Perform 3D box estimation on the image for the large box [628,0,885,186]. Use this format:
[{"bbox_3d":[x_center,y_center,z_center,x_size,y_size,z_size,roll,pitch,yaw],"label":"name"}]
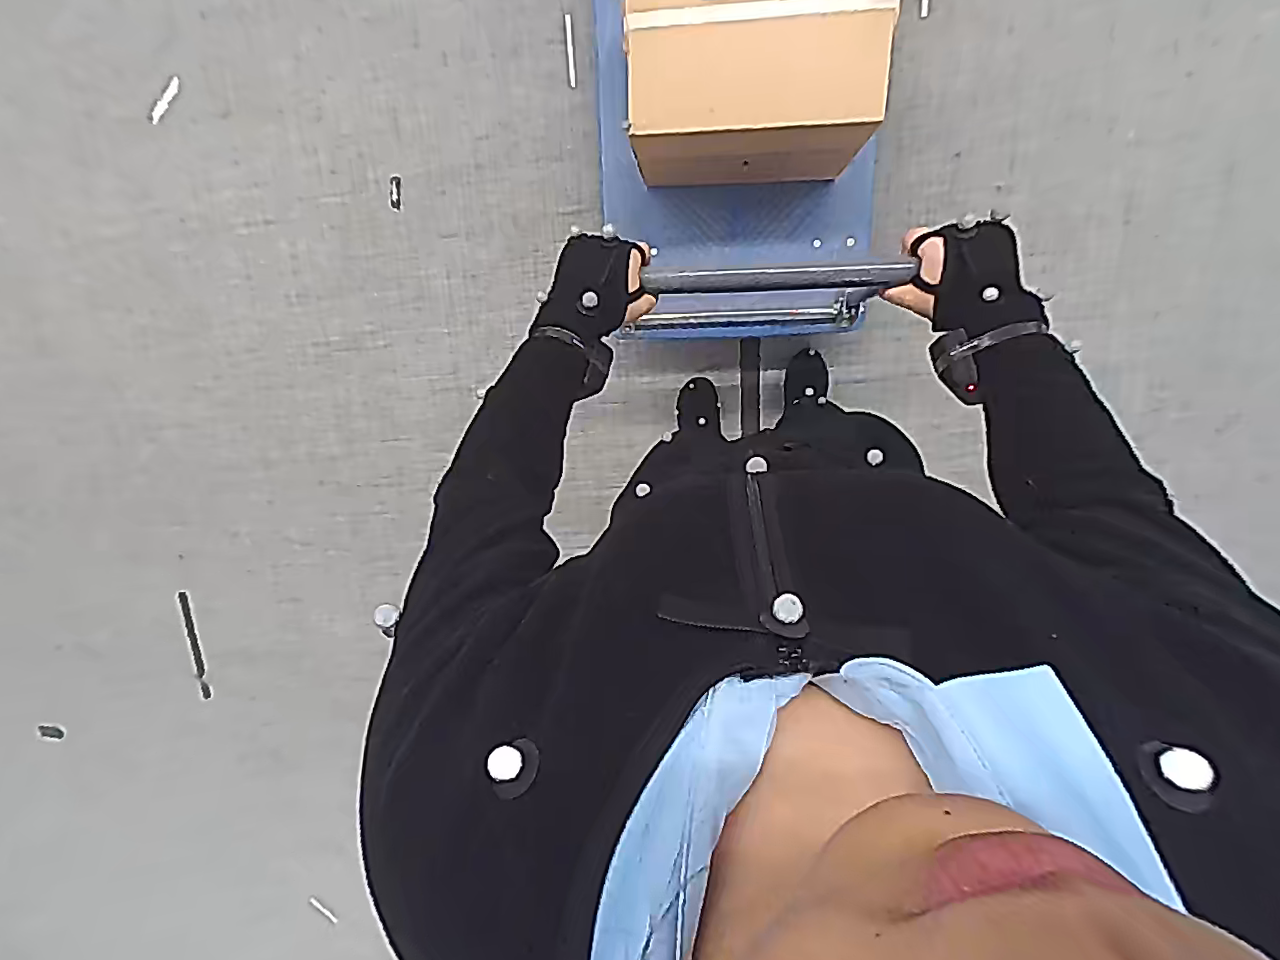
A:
[{"bbox_3d":[0.198,-0.758,0.992,0.408,0.320,0.320,0,103,7],"label":"large box"}]
